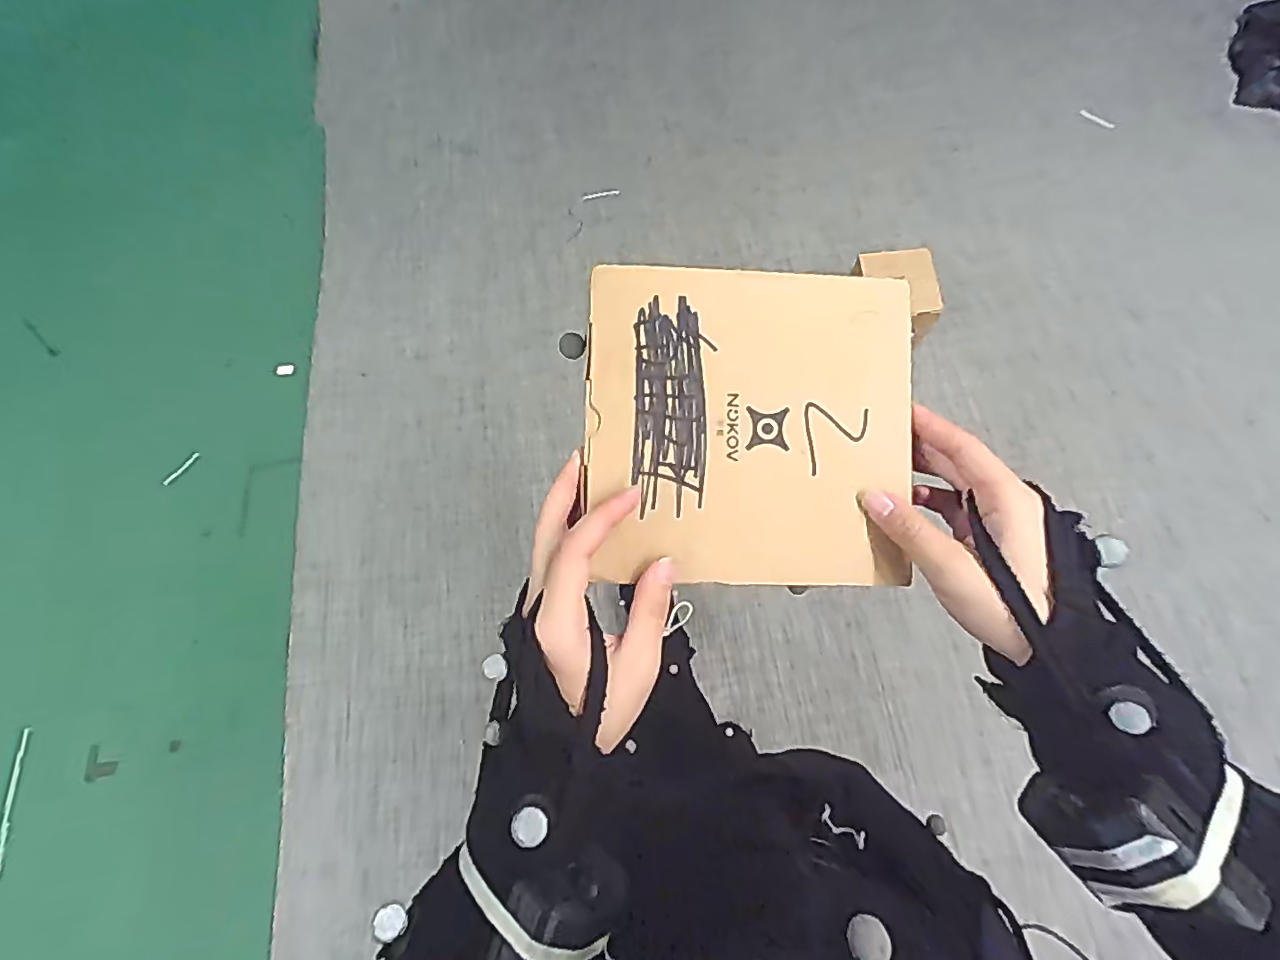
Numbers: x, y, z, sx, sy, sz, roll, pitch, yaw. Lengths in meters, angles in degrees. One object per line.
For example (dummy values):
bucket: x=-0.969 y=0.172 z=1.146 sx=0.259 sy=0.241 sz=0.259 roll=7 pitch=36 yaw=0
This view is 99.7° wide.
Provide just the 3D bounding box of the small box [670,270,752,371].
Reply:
small box: x=0.172 y=-0.392 z=1.352 sx=0.179 sy=0.176 sz=0.168 roll=-8 pitch=72 yaw=3

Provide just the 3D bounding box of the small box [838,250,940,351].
small box: x=0.601 y=-0.430 z=1.326 sx=0.168 sy=0.176 sz=0.179 roll=-4 pitch=72 yaw=2
